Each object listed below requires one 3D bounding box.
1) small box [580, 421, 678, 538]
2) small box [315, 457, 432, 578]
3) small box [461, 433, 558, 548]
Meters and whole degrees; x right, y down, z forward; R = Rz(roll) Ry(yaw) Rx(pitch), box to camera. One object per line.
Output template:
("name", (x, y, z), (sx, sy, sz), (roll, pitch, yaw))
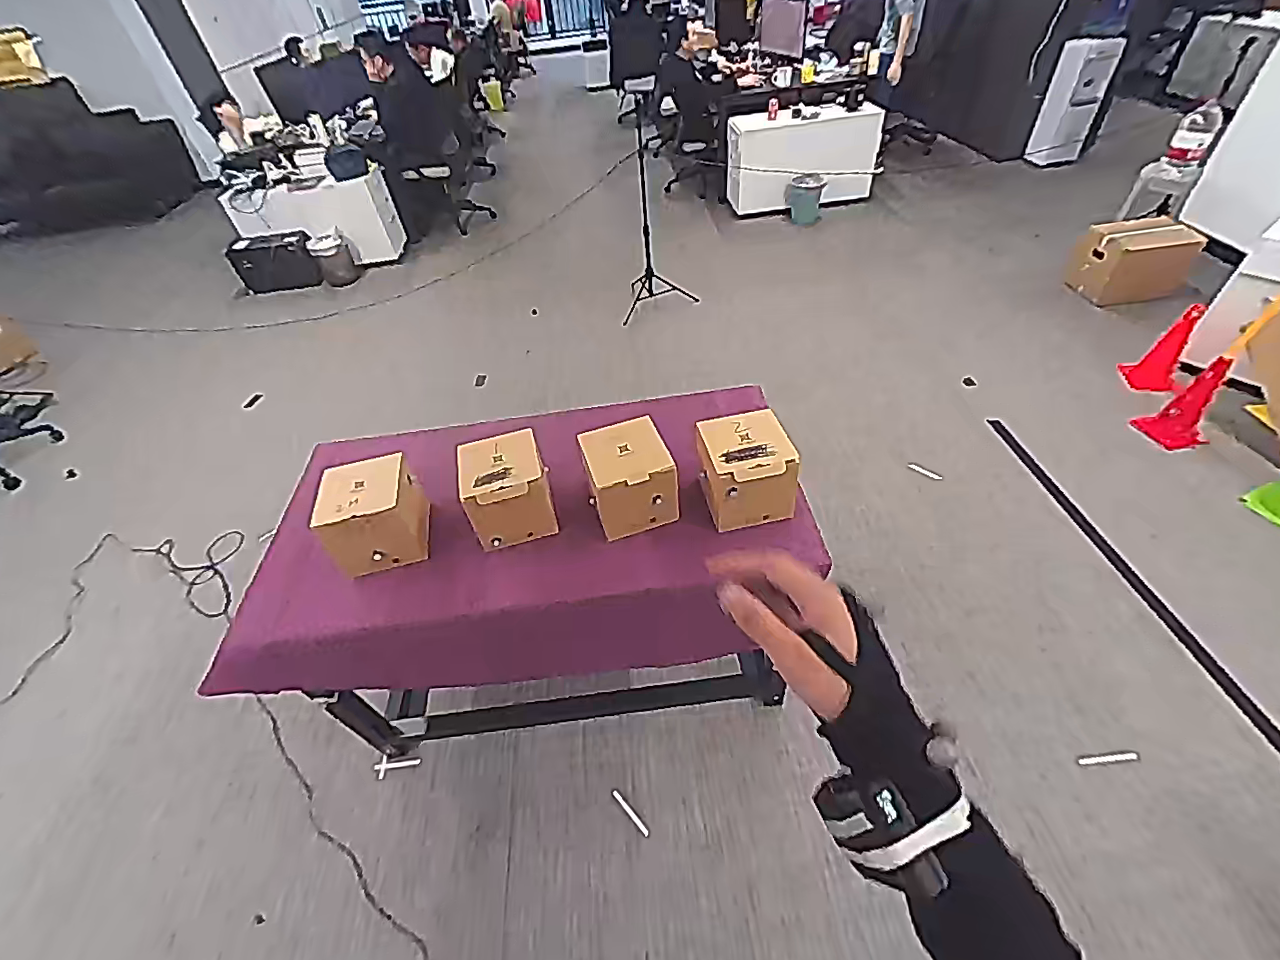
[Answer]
("small box", (-0.021, 0.005, 1.174), (0.168, 0.176, 0.179), (-16, 45, -9))
("small box", (-0.561, 0.080, 1.165), (0.168, 0.176, 0.179), (-13, 45, -6))
("small box", (-0.283, 0.029, 1.181), (0.168, 0.176, 0.179), (-14, 44, -7))
